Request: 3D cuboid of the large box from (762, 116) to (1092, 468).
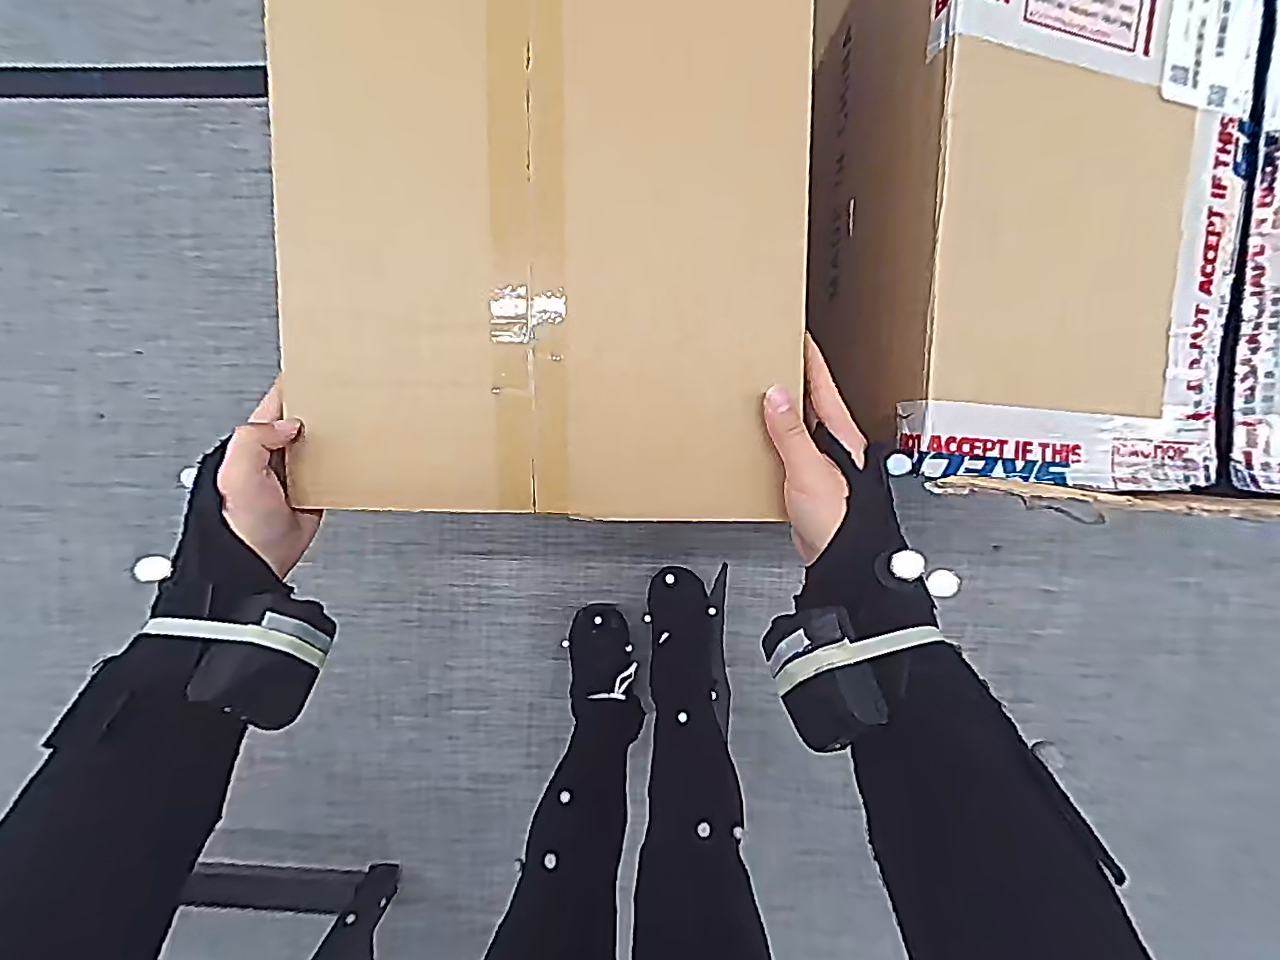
[{"bbox_3d":[0.361,-0.231,0.780,0.320,0.320,0.408,0,96,2],"label":"large box"}]
